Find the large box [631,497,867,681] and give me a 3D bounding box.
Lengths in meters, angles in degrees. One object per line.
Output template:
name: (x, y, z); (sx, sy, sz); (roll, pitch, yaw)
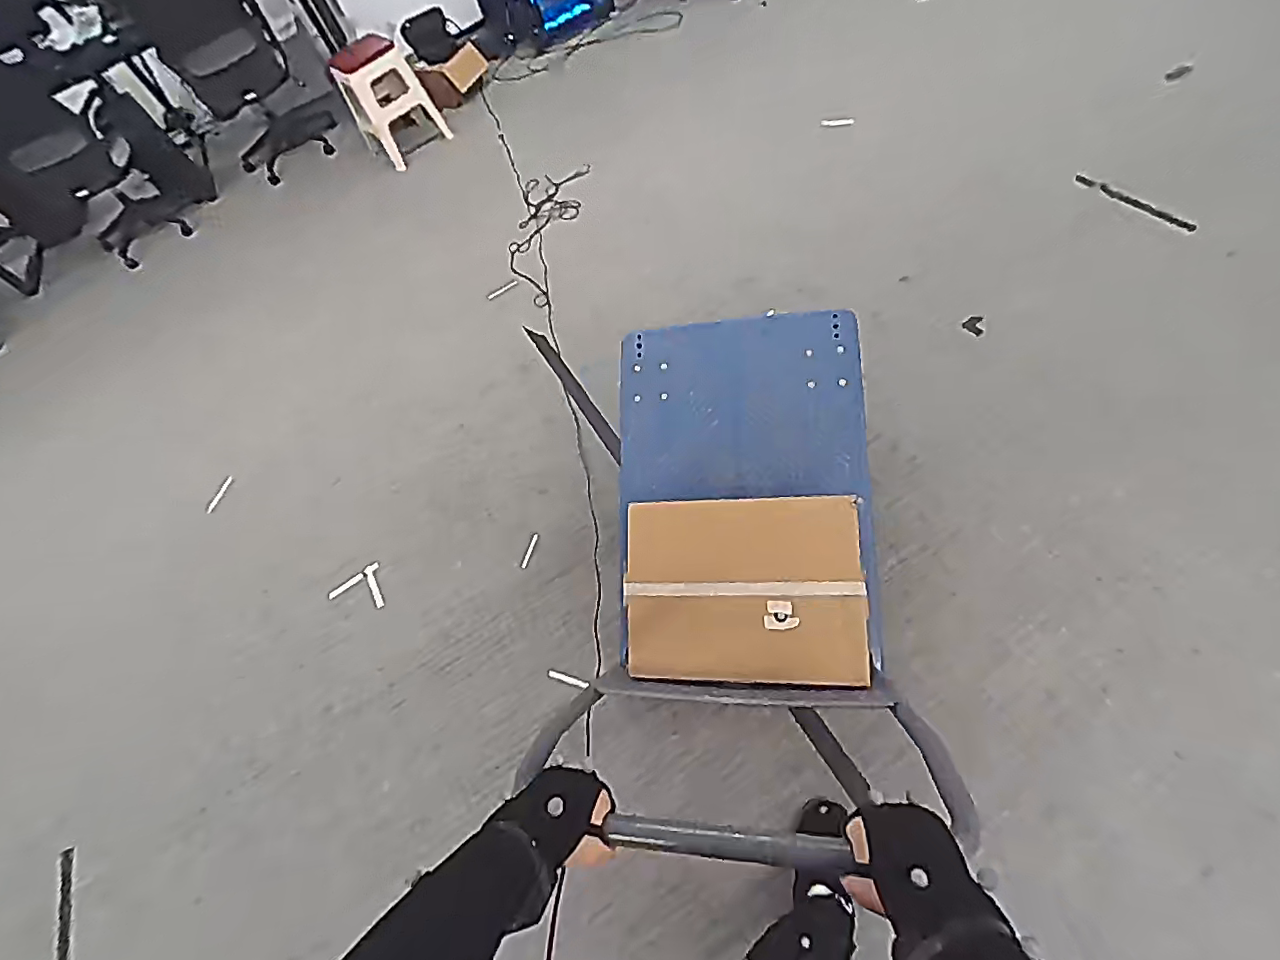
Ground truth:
large box: (0.210, 0.219, 1.100); (0.408, 0.320, 0.320); (-3, 80, 12)
